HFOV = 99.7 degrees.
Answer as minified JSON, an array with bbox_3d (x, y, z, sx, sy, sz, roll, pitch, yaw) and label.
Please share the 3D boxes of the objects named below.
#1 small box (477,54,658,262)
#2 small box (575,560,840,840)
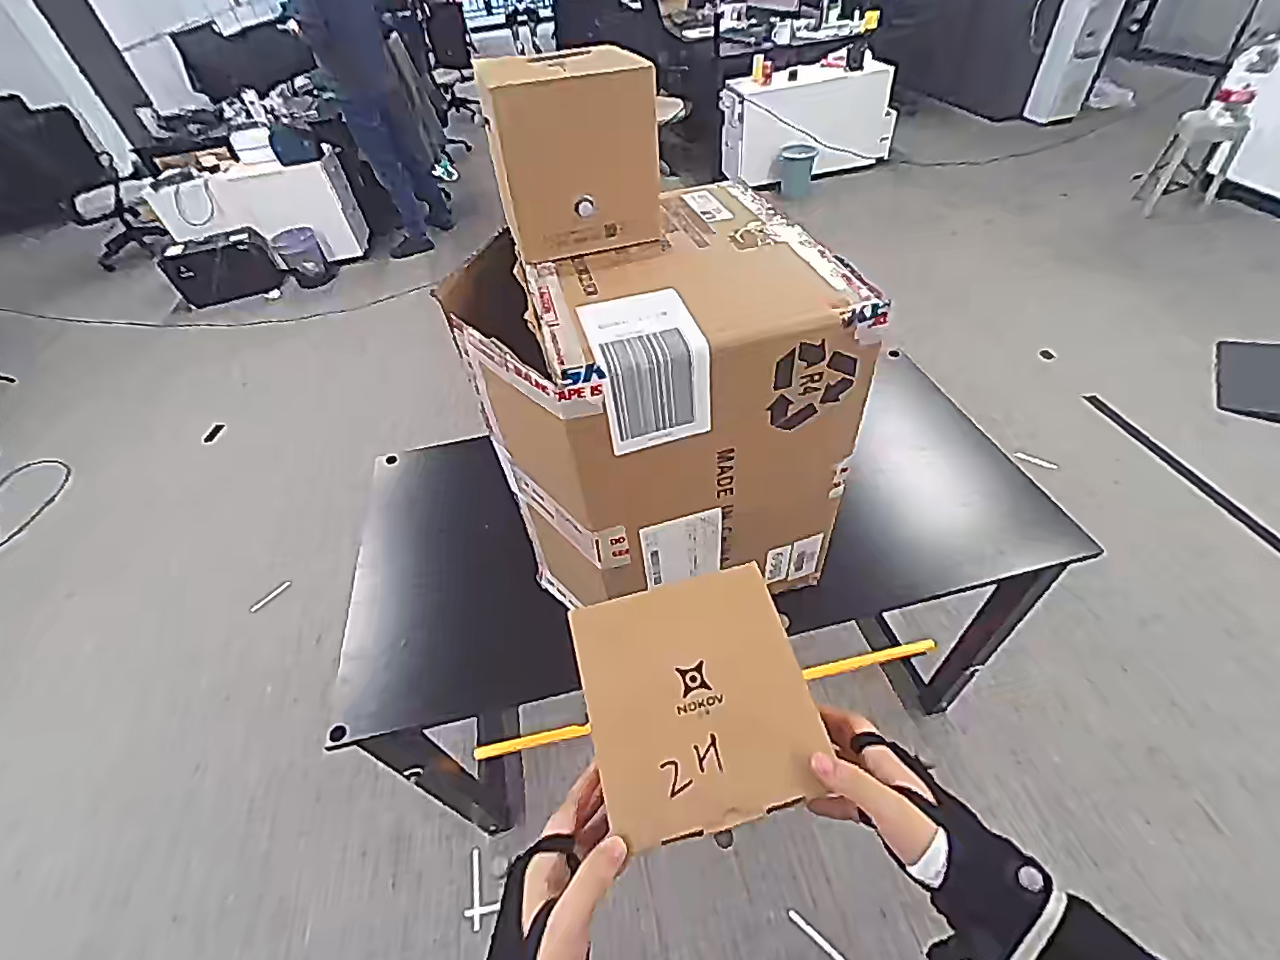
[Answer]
[{"bbox_3d":[-0.082,-0.376,0.631,0.168,0.176,0.179,-15,46,-9],"label":"small box"},{"bbox_3d":[0.046,0.200,0.483,0.168,0.176,0.179,-14,58,-5],"label":"small box"}]
